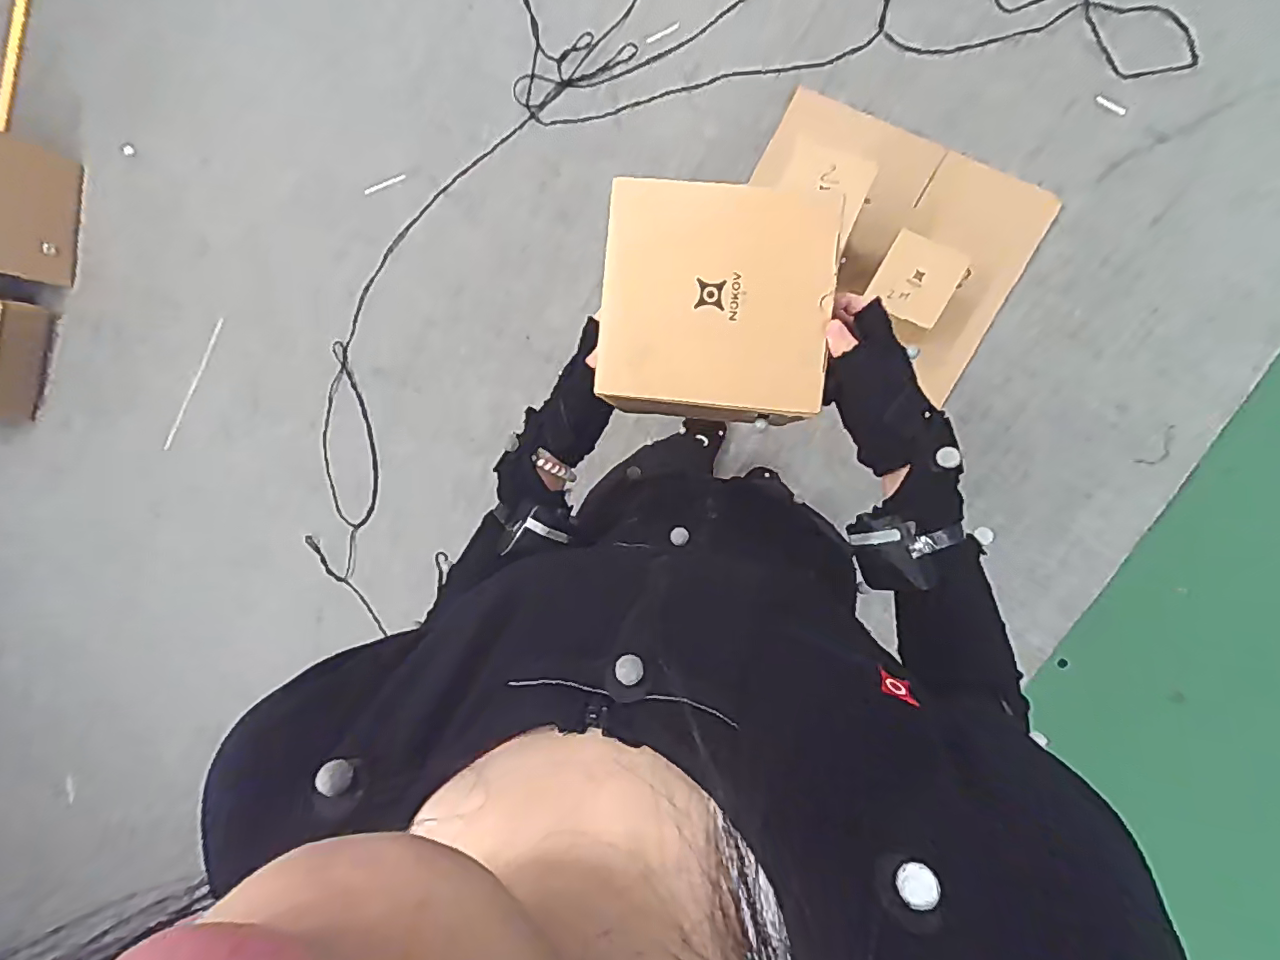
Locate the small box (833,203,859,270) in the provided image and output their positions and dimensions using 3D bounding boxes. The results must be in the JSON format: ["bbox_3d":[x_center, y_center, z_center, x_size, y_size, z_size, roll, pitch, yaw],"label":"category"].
[{"bbox_3d":[0.397,-0.559,1.298,0.168,0.176,0.179,25,97,9],"label":"small box"}]

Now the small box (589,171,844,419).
[{"bbox_3d":[0.061,-0.147,0.484,0.179,0.176,0.168,6,94,3],"label":"small box"}]

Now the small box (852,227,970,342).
[{"bbox_3d":[0.619,-0.447,1.265,0.168,0.176,0.179,29,99,10],"label":"small box"}]
